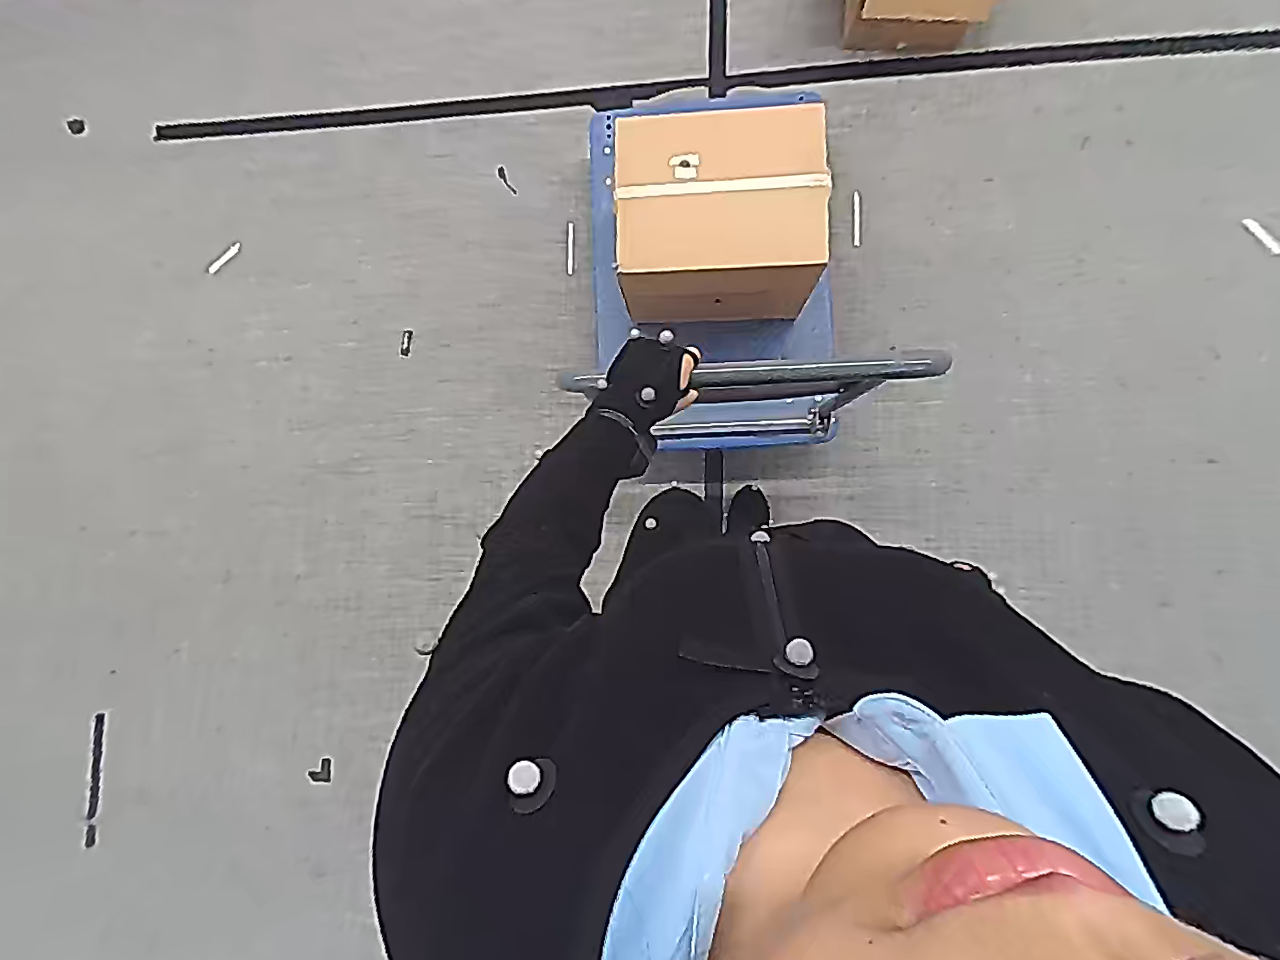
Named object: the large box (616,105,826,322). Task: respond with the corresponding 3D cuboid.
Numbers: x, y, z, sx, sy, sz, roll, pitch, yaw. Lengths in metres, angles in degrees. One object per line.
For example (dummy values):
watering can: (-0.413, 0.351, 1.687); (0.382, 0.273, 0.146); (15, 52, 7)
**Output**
large box: (0.171, -0.556, 1.199); (0.408, 0.320, 0.320); (-1, 87, 7)
